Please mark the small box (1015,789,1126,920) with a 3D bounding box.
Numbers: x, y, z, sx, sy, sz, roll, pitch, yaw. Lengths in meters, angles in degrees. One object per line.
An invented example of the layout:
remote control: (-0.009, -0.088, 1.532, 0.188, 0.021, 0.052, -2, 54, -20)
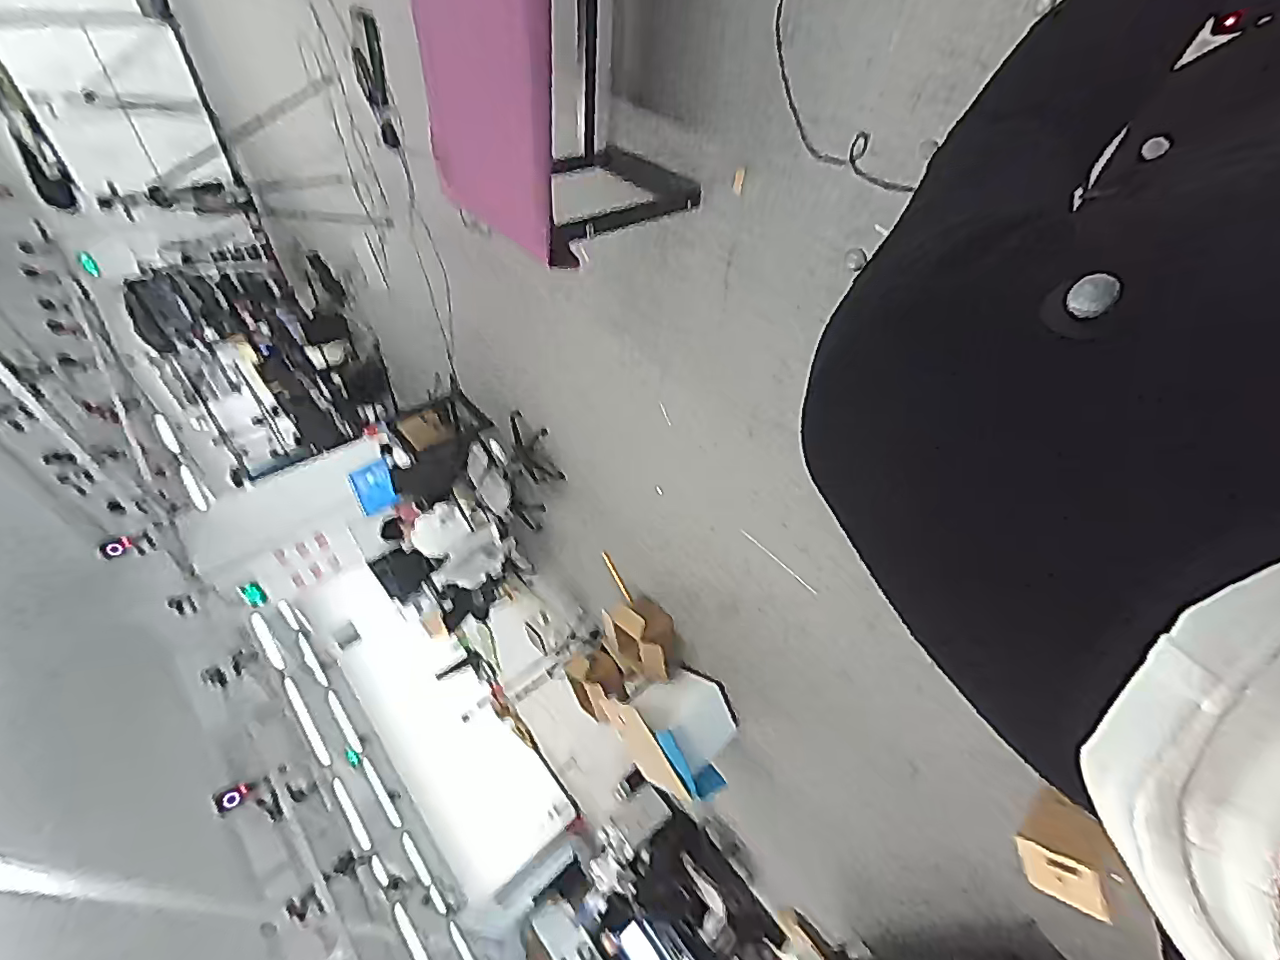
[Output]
small box: (1.088, 0.932, 1.367, 0.168, 0.176, 0.179, -4, 113, 57)
